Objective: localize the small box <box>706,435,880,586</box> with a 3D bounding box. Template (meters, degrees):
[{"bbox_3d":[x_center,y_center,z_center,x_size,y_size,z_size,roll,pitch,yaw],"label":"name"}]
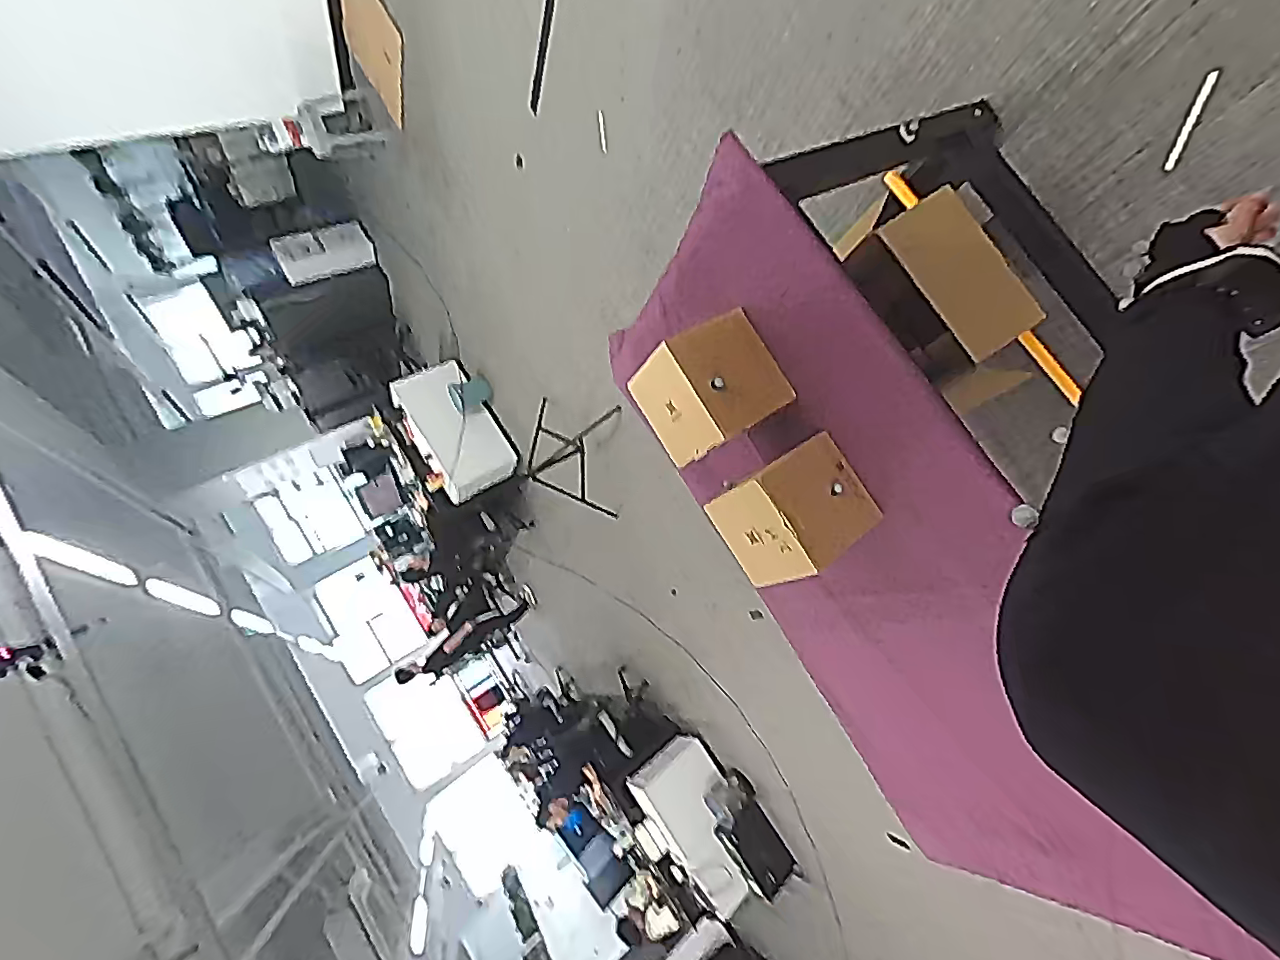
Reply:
[{"bbox_3d":[0.246,0.052,0.883,0.168,0.176,0.179,57,153,4],"label":"small box"}]

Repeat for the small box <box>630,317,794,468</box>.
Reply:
[{"bbox_3d":[0.117,-0.150,0.904,0.179,0.176,0.168,58,154,2],"label":"small box"}]
